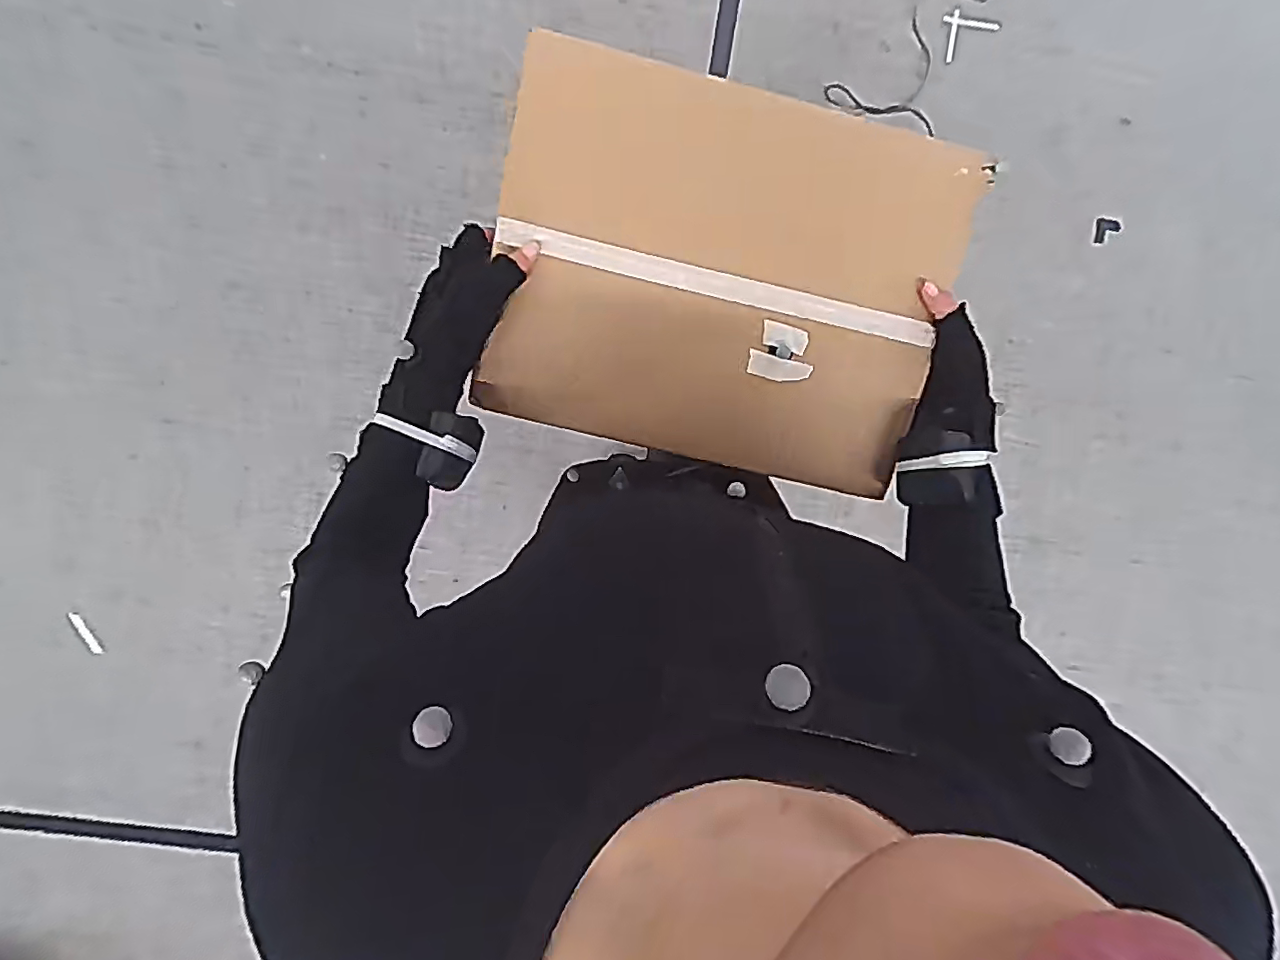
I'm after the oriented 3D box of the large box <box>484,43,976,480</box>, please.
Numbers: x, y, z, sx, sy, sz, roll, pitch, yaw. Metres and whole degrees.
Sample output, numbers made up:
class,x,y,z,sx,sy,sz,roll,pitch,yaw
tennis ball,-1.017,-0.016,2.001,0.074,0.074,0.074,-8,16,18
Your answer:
class,x,y,z,sx,sy,sz,roll,pitch,yaw
large box,0.069,-0.215,0.640,0.408,0.320,0.320,12,103,-5
